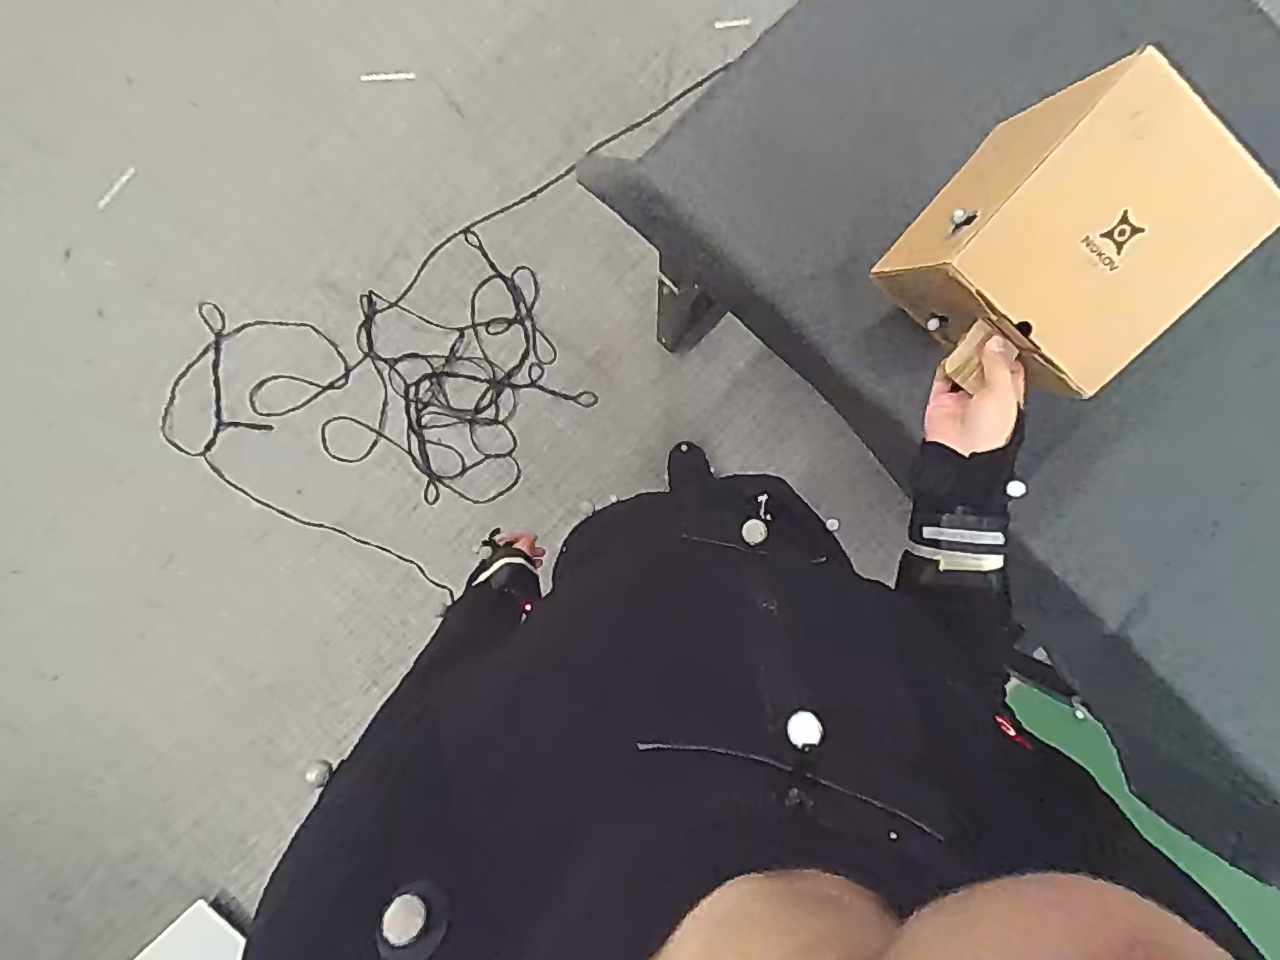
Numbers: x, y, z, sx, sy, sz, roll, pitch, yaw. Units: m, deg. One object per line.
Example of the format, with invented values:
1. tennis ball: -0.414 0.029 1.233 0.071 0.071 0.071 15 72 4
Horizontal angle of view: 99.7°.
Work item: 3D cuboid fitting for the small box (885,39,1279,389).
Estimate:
1. small box: 0.354 -0.208 0.468 0.168 0.176 0.179 36 107 -9
